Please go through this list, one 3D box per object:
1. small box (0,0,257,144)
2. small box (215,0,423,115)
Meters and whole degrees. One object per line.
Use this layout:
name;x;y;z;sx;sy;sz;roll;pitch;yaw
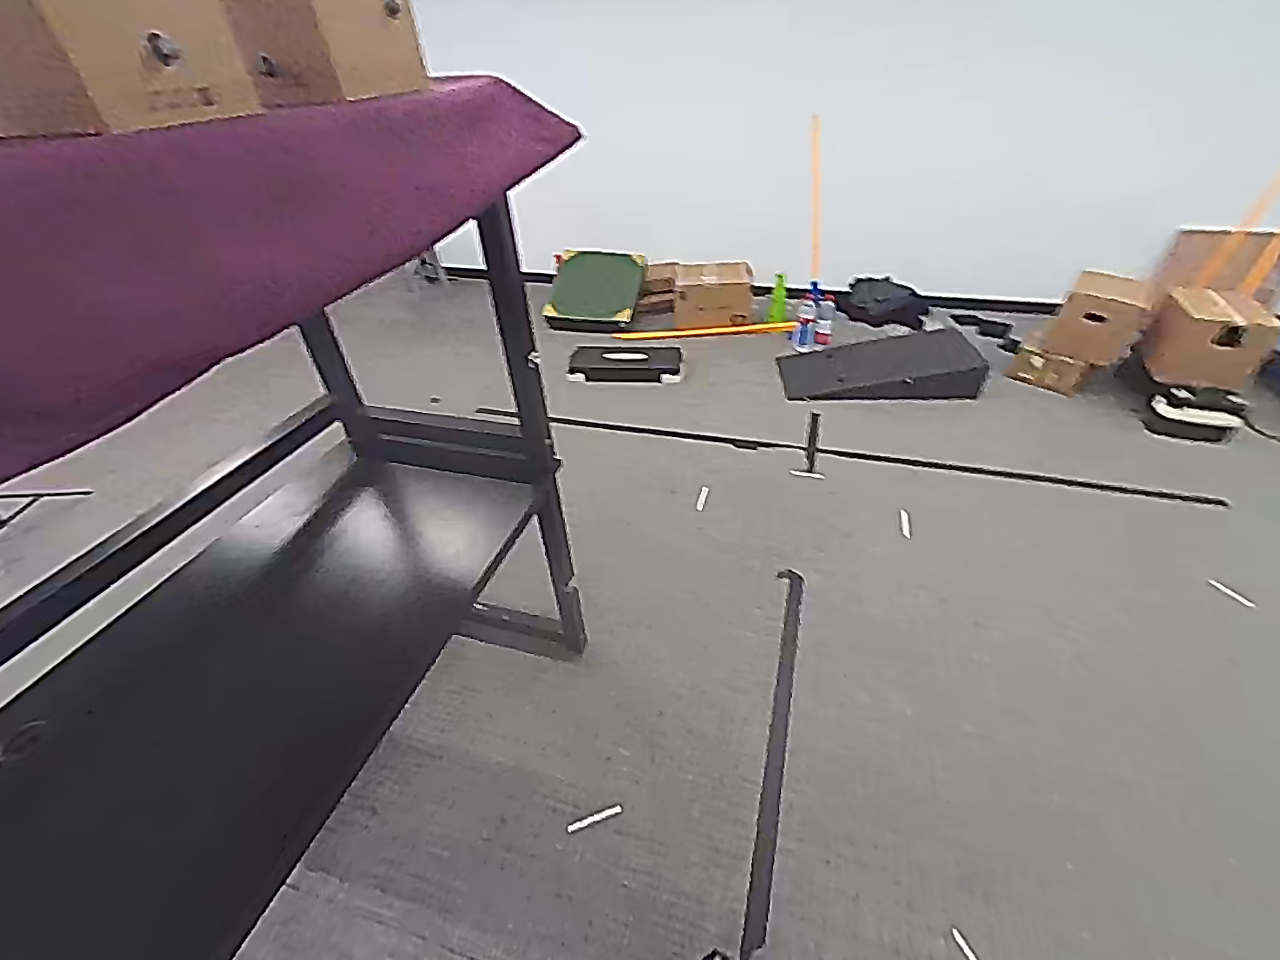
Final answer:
small box;-0.500;-0.403;0.475;0.179;0.176;0.168;8;40;14
small box;-0.401;-0.570;0.679;0.168;0.176;0.179;10;41;17
